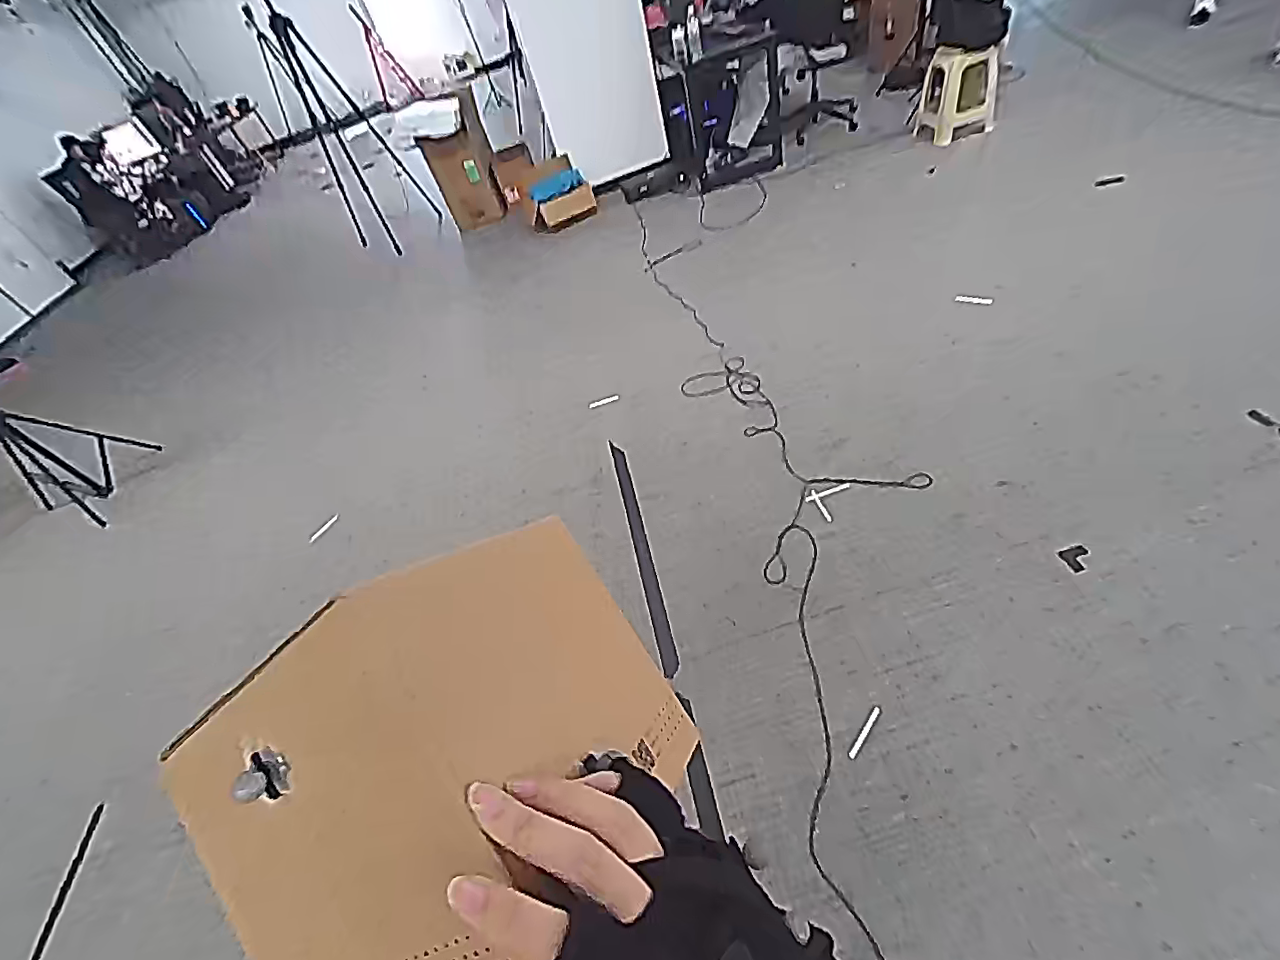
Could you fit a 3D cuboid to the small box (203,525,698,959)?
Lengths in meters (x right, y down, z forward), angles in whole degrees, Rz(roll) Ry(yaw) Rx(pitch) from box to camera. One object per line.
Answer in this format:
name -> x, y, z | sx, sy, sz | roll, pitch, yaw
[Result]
small box -> -0.098, 0.155, 0.318 | 0.179, 0.168, 0.176 | -38, 82, 23
